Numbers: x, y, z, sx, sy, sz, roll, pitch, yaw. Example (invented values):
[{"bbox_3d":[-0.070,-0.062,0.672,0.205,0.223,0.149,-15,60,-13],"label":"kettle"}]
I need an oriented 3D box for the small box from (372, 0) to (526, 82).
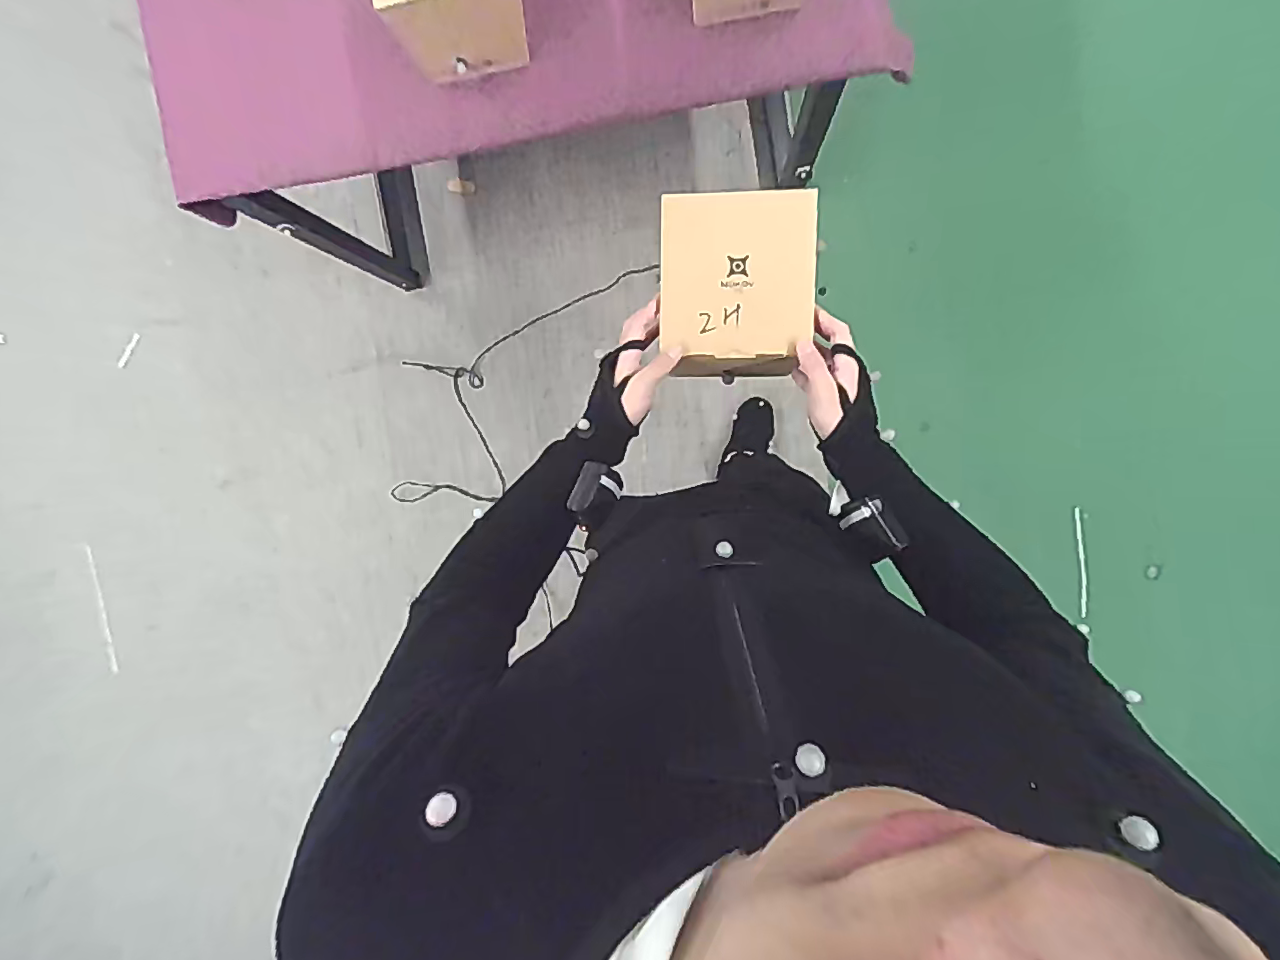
[{"bbox_3d":[-0.276,-0.728,0.778,0.168,0.176,0.179,-6,94,8],"label":"small box"}]

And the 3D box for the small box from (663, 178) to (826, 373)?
[{"bbox_3d":[0.115,-0.229,0.643,0.168,0.176,0.179,1,94,6],"label":"small box"}]

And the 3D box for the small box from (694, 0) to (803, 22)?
[{"bbox_3d":[0.147,-0.776,0.722,0.168,0.176,0.179,-4,92,8],"label":"small box"}]
